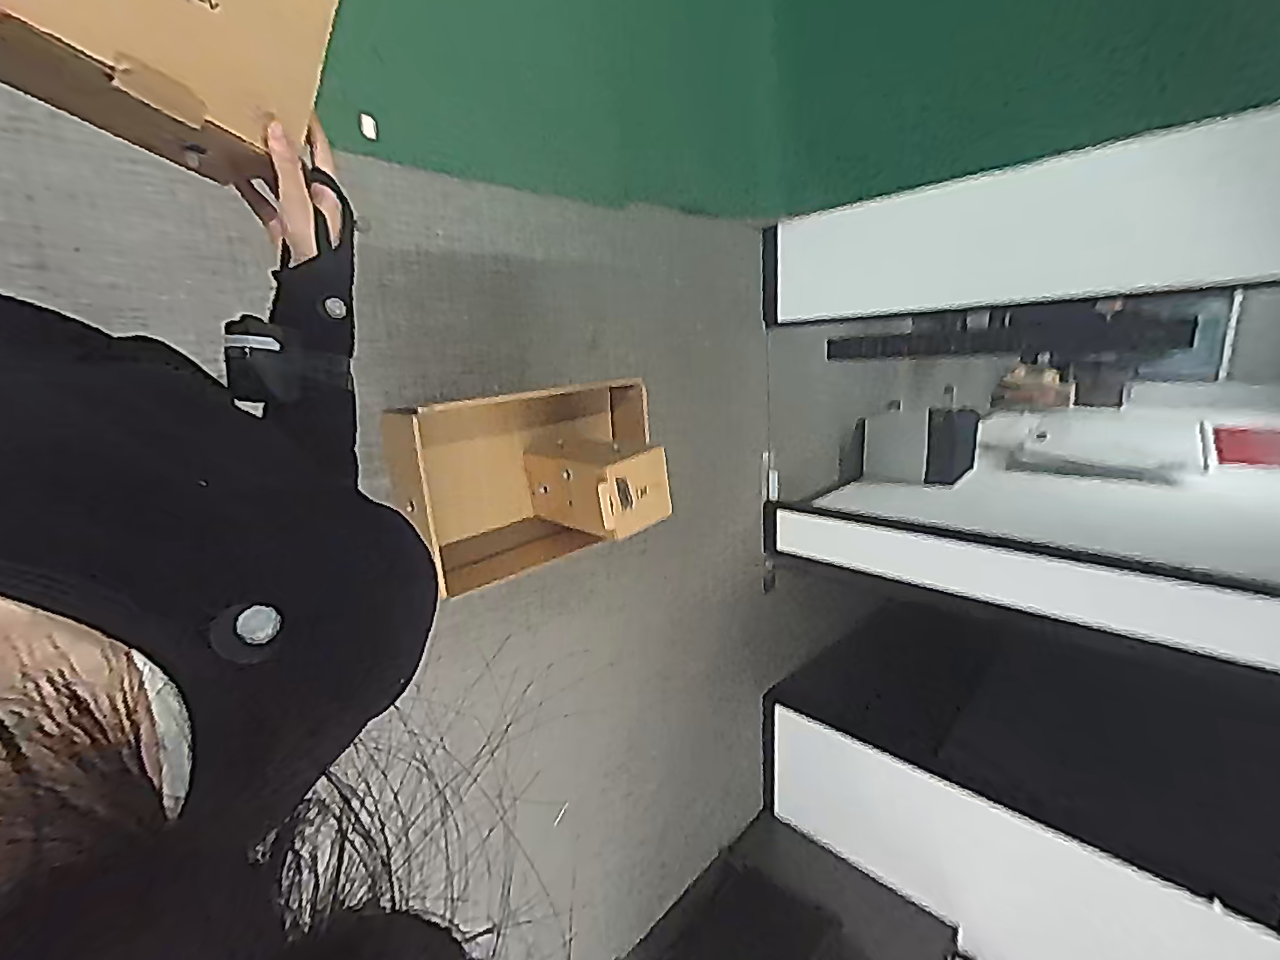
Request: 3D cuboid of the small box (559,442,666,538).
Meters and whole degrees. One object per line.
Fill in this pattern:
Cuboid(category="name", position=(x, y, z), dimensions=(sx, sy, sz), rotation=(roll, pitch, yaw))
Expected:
Cuboid(category="small box", position=(-0.067, 0.015, 1.226), dimensions=(0.179, 0.176, 0.168), rotation=(-22, 113, -40))
